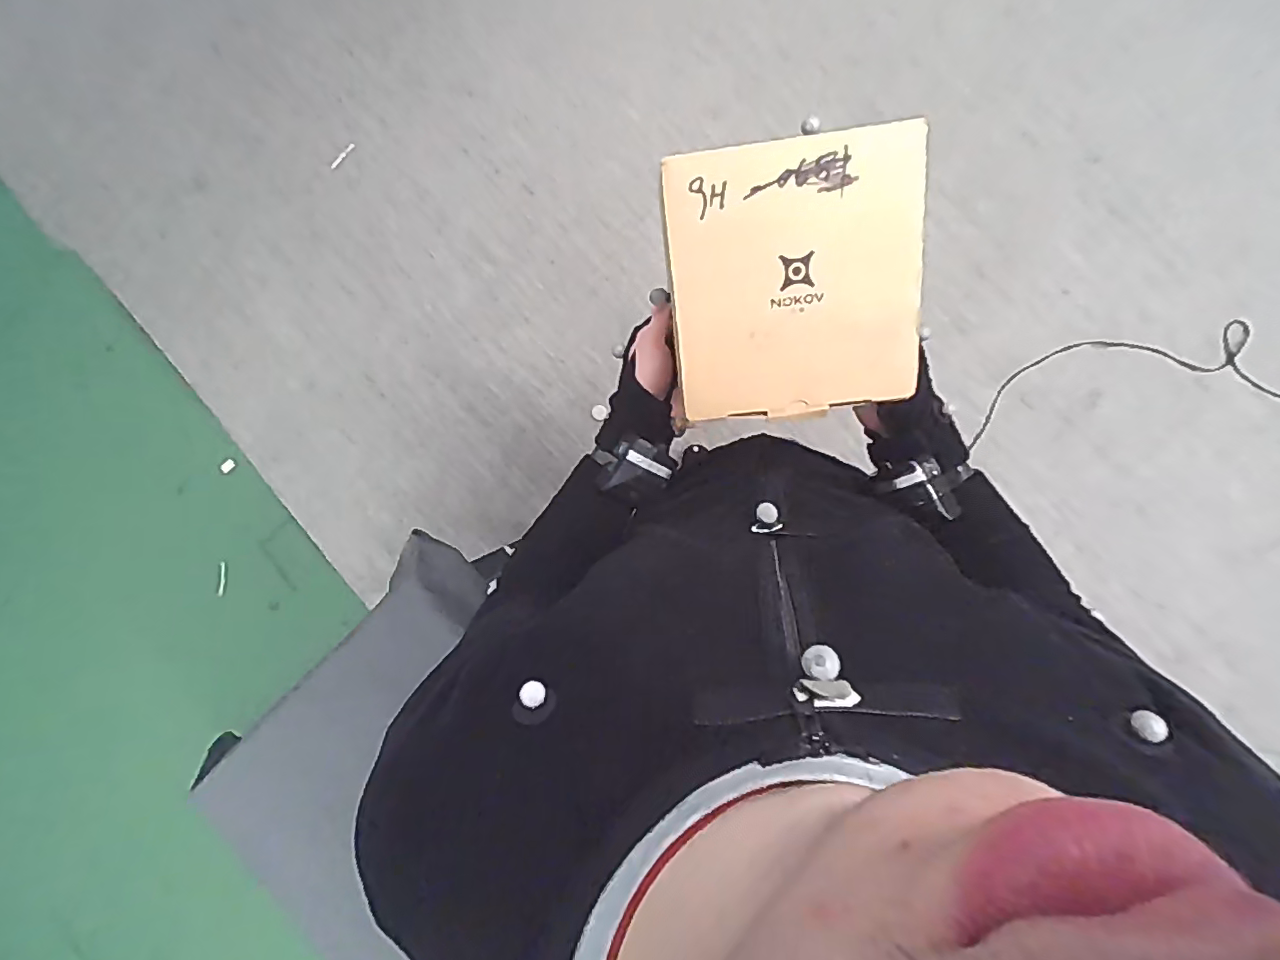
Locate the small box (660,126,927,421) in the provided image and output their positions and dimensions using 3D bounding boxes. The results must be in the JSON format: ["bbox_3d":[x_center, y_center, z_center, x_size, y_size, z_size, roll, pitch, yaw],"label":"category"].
[{"bbox_3d":[0.106,-0.160,0.441,0.168,0.176,0.179,-6,111,3],"label":"small box"}]
